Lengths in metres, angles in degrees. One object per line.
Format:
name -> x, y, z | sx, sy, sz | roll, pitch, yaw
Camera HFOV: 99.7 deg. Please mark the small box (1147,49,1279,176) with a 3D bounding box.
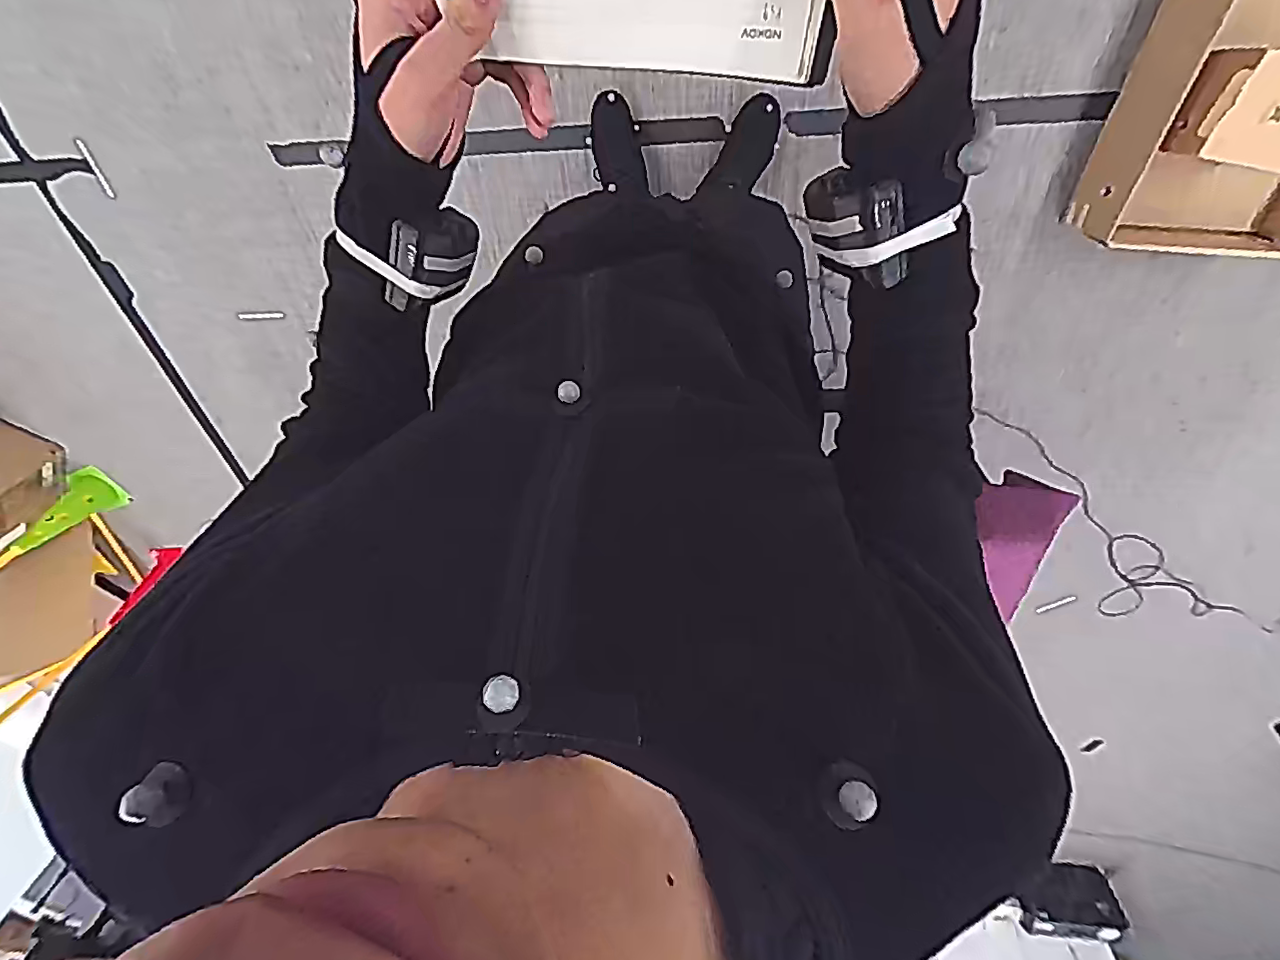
small box -> 1.152, -0.702, 1.036 | 0.179, 0.176, 0.168 | 11, 128, -1
